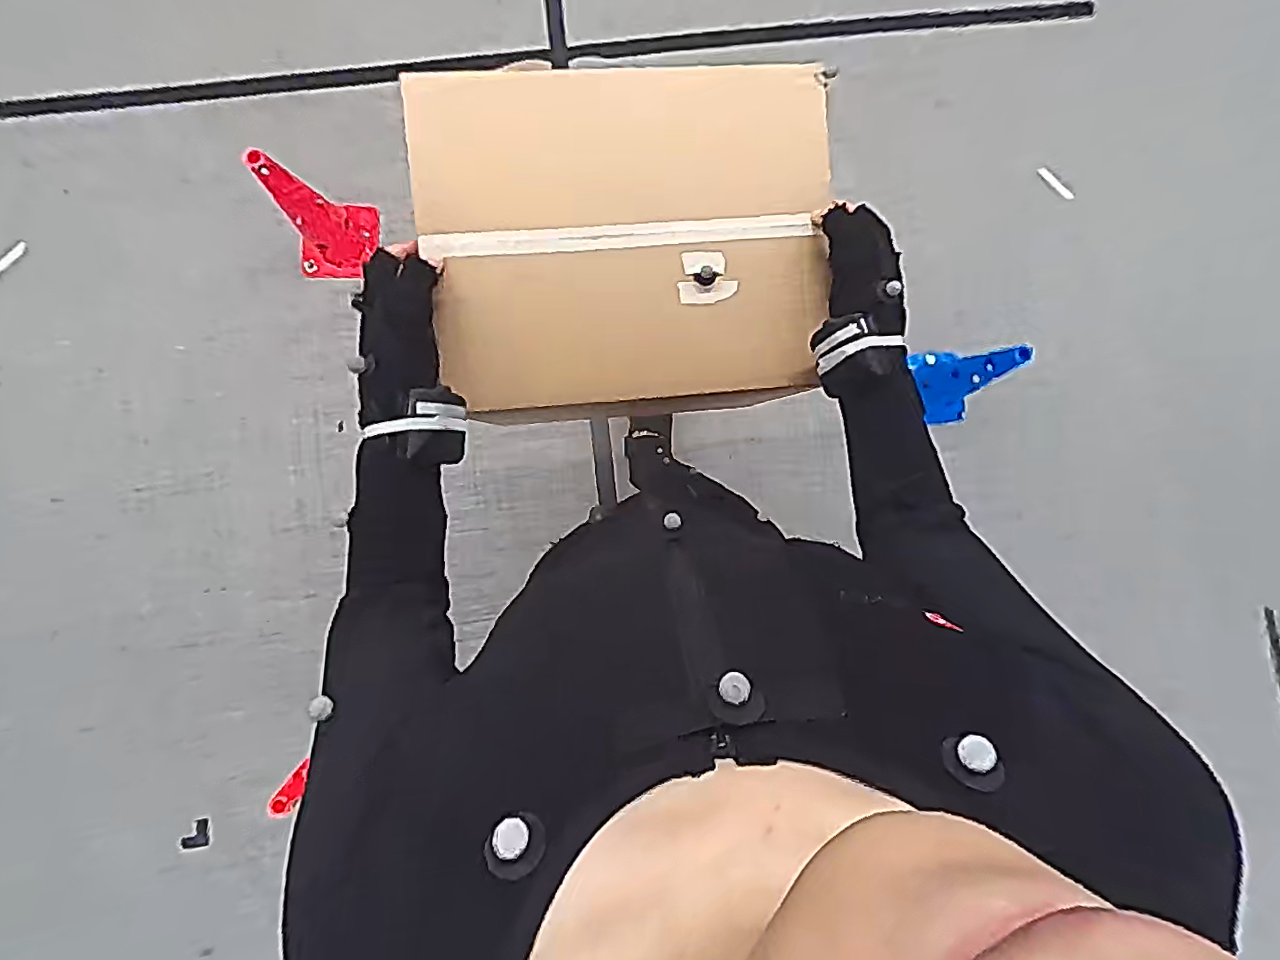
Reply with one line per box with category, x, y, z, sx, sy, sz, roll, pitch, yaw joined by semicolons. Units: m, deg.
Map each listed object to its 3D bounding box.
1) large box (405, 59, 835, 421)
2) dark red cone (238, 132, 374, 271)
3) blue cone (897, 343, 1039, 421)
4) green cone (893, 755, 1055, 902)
large box;-0.025;-0.255;0.678;0.408;0.320;0.320;-6;94;-6
dark red cone;-0.794;-0.658;1.263;0.201;0.394;0.202;-1;87;-4
blue cone;0.828;-0.270;1.357;0.192;0.380;0.193;-4;87;-4
green cone;0.814;0.859;1.278;0.202;0.368;0.200;-45;90;-6
